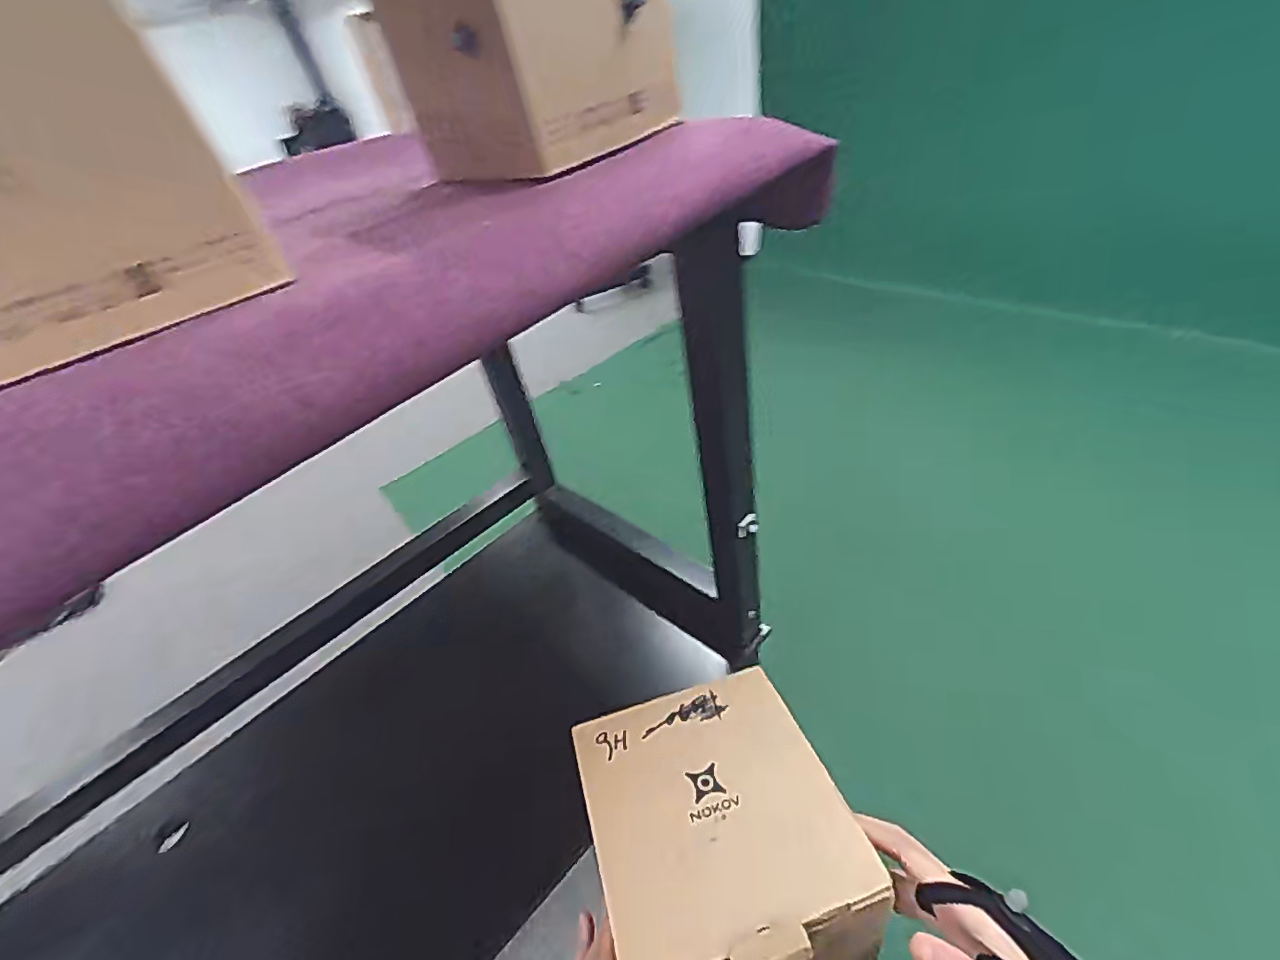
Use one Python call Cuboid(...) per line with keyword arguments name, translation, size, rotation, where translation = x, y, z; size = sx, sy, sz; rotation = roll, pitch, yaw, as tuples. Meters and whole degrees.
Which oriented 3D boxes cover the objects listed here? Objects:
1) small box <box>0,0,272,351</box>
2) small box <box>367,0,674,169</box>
Cuboid(name="small box", translation=(-0.324, -0.173, 0.272), size=(0.168, 0.176, 0.179), rotation=(-34, 43, -24))
Cuboid(name="small box", translation=(-0.093, -0.366, 0.435), size=(0.179, 0.176, 0.168), rotation=(25, 52, 38))
